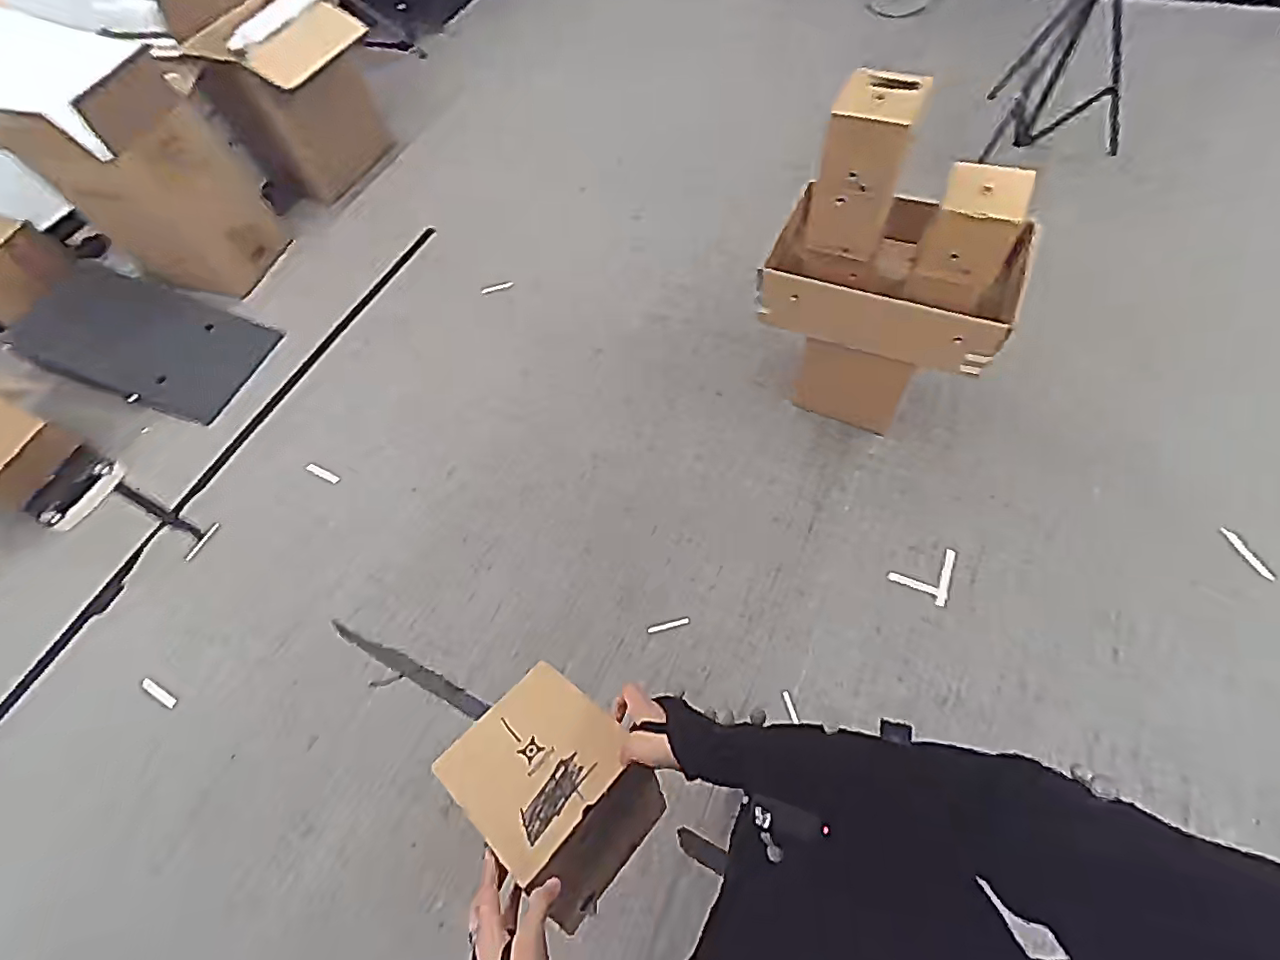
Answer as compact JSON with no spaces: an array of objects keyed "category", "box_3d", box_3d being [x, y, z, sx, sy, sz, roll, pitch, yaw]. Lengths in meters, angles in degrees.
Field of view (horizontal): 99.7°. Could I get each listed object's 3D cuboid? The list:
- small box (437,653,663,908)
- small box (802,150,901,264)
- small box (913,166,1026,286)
[{"category":"small box","box_3d":[-0.092,0.345,0.623,0.179,0.176,0.168,25,51,38]},{"category":"small box","box_3d":[0.511,-0.668,1.327,0.168,0.176,0.179,21,66,18]},{"category":"small box","box_3d":[0.752,-0.583,1.246,0.168,0.176,0.179,18,66,17]}]
